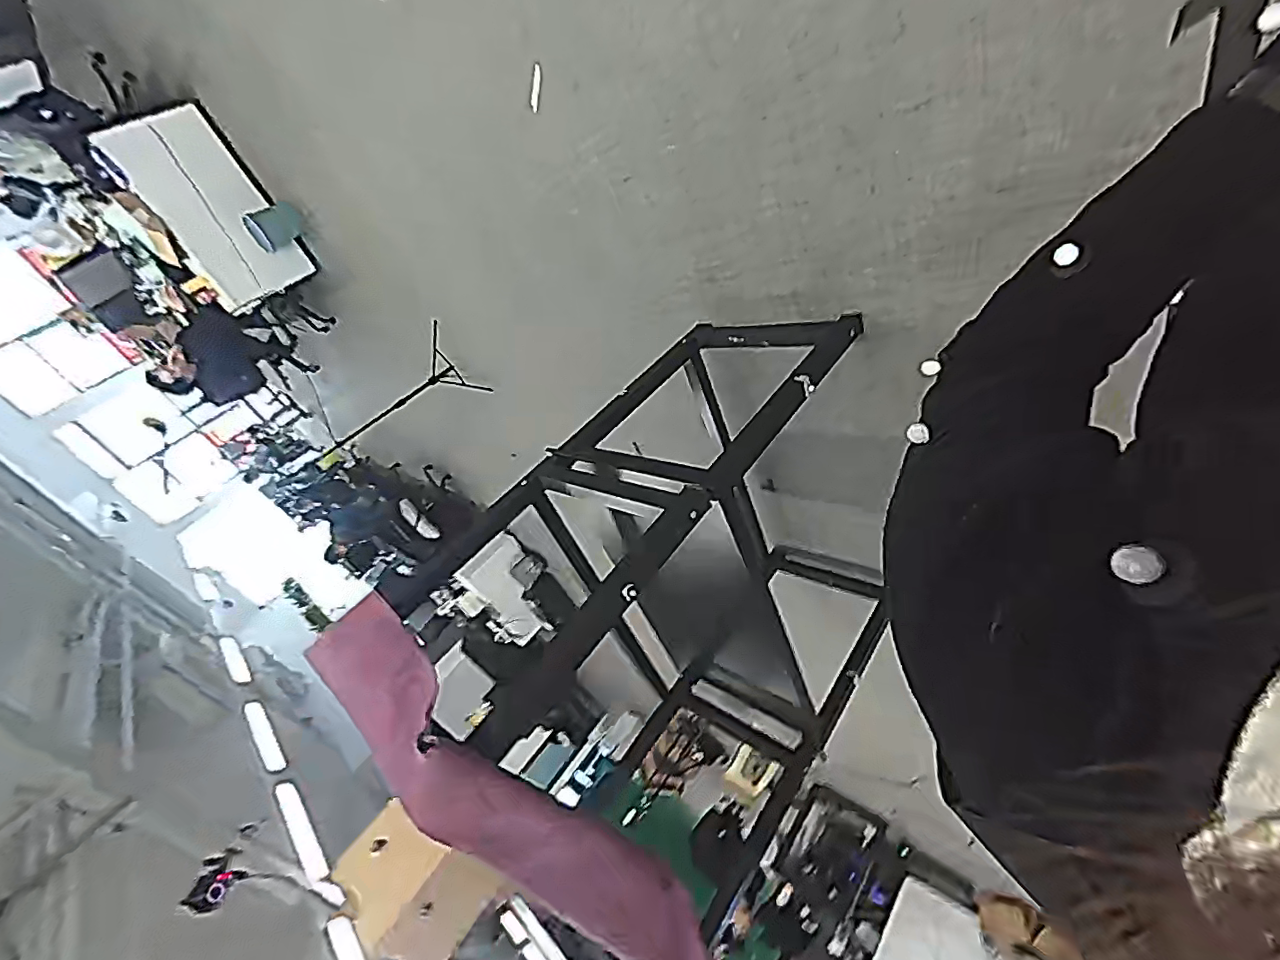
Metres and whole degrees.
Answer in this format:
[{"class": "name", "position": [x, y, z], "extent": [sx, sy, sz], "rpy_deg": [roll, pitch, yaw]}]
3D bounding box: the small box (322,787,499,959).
[{"class": "small box", "position": [-0.370, 0.648, 0.891], "extent": [0.168, 0.176, 0.179], "rpy_deg": [19, 145, 41]}]
